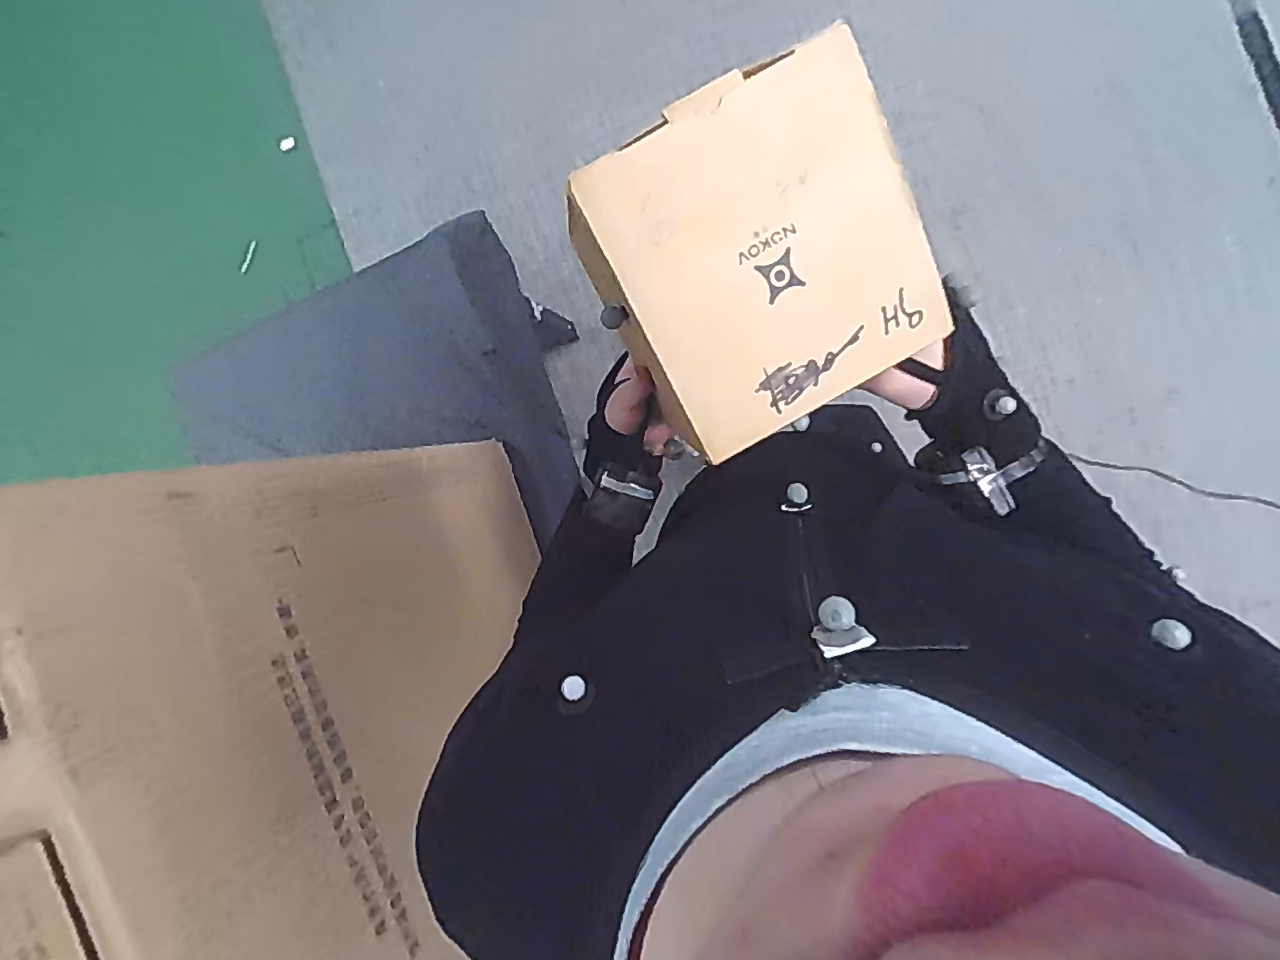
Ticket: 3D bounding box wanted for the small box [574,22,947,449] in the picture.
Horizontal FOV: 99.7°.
[{"bbox_3d":[0.064,-0.145,0.377,0.168,0.176,0.179,-28,106,1],"label":"small box"}]
